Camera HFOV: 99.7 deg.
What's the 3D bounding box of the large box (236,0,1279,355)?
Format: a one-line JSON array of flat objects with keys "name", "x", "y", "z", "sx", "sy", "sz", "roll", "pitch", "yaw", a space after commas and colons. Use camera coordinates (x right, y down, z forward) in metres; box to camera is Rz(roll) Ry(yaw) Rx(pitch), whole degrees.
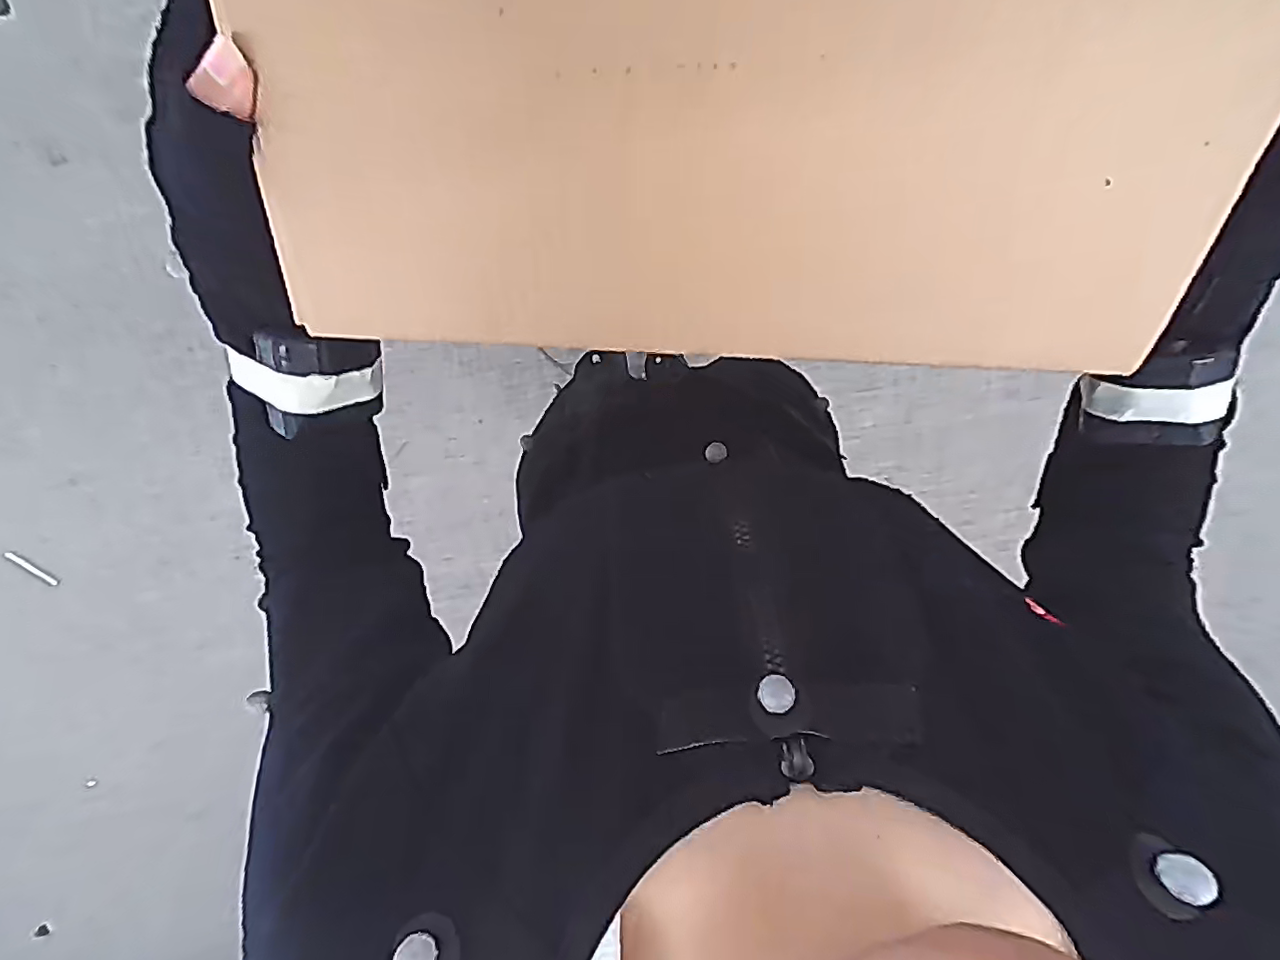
[{"name": "large box", "x": 0.045, "y": -0.275, "z": 0.322, "sx": 0.408, "sy": 0.320, "sz": 0.320, "roll": 2, "pitch": 122, "yaw": -2}]
